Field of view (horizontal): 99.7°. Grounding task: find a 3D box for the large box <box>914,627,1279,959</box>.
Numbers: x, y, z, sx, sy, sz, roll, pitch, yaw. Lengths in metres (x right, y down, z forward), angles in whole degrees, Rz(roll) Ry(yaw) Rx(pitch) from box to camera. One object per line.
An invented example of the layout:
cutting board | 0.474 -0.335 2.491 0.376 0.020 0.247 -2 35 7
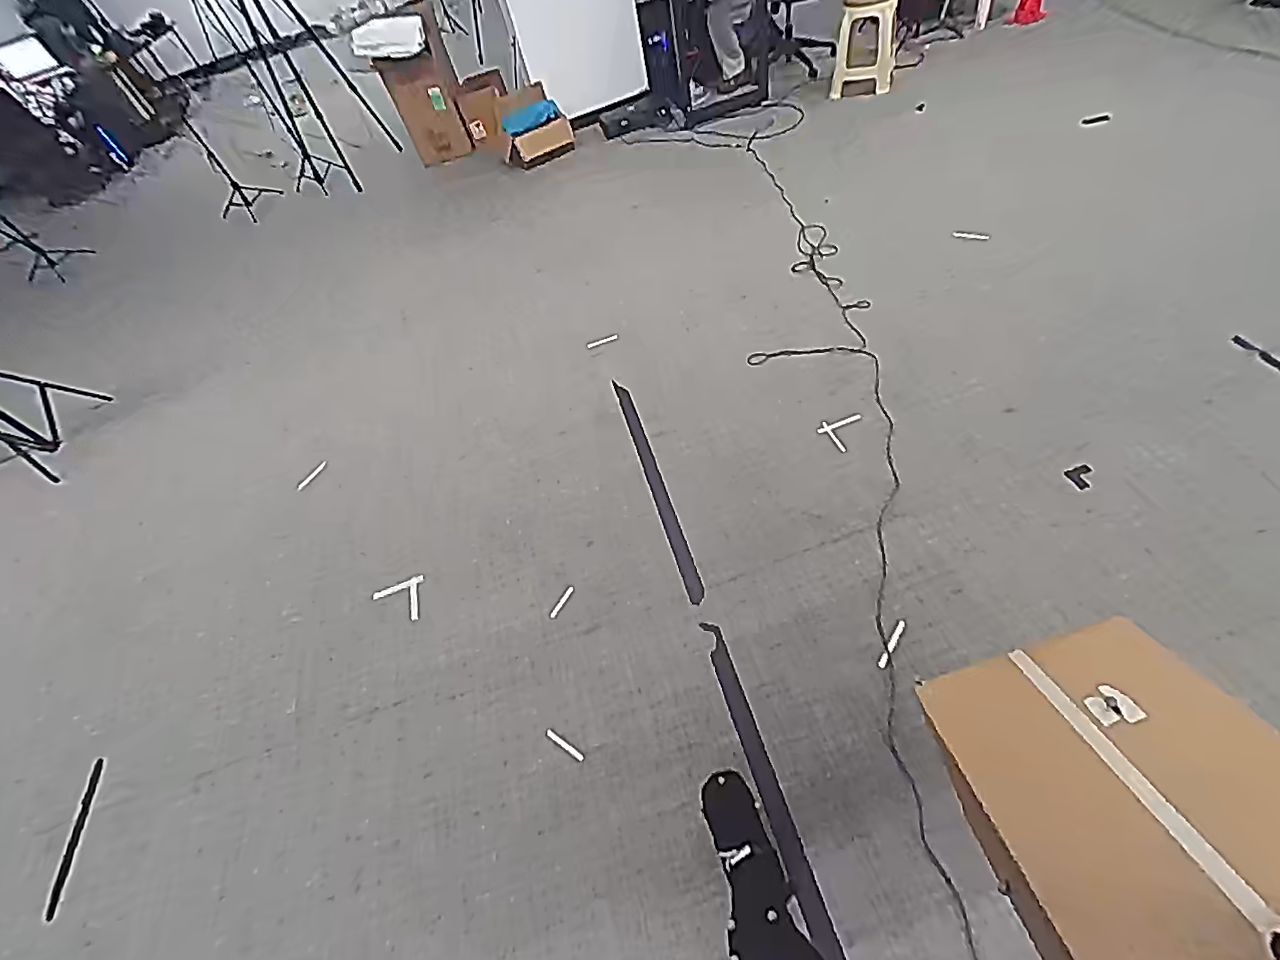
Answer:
large box | 0.631 0.471 0.689 0.320 0.320 0.408 -23 16 10
